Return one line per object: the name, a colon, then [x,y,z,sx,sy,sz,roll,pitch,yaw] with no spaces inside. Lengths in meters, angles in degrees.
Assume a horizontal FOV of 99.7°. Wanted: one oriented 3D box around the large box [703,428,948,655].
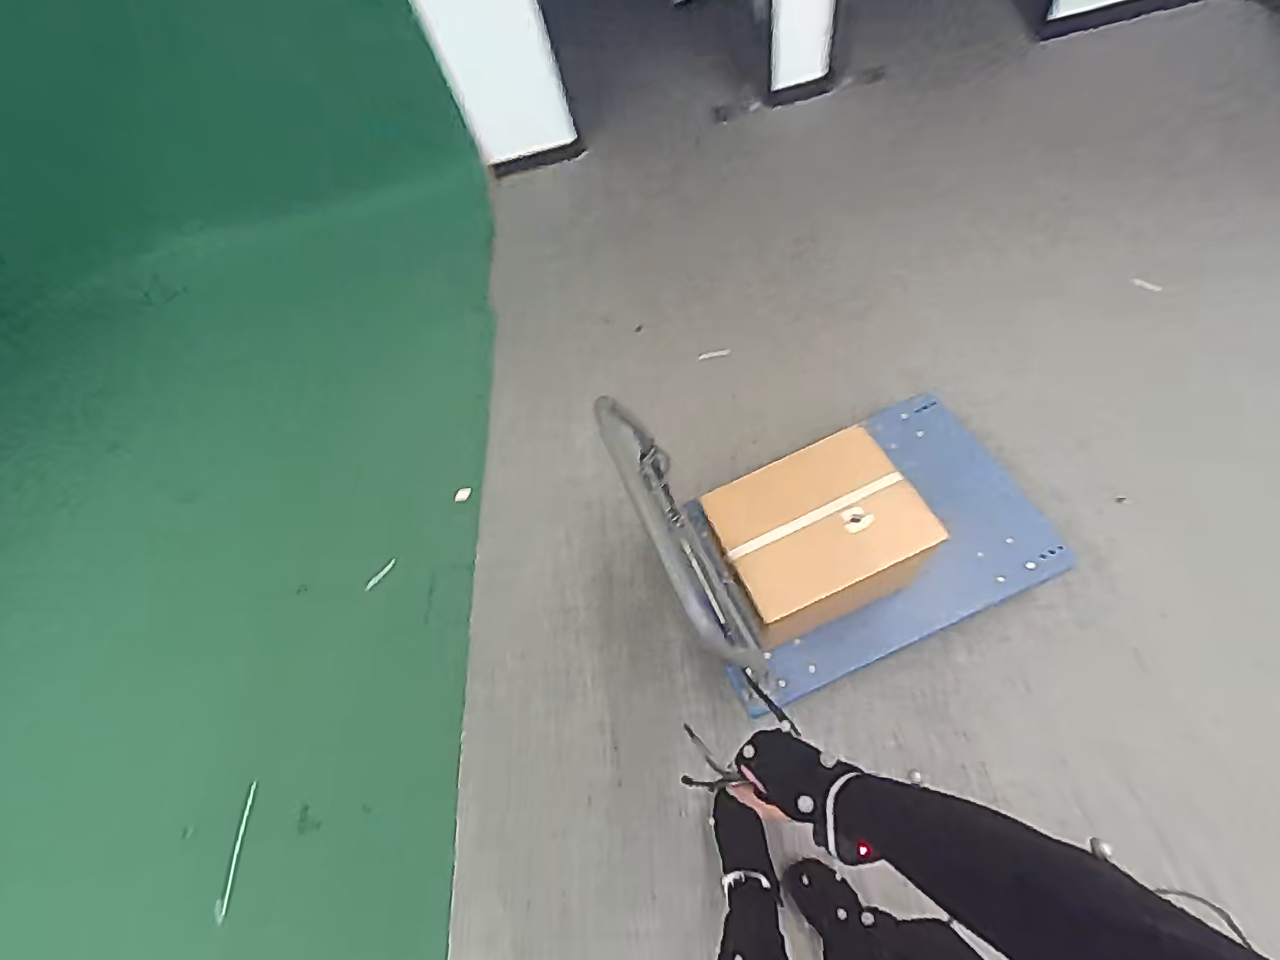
large box: [0.399,0.155,1.252,0.408,0.320,0.320,-25,61,-2]
